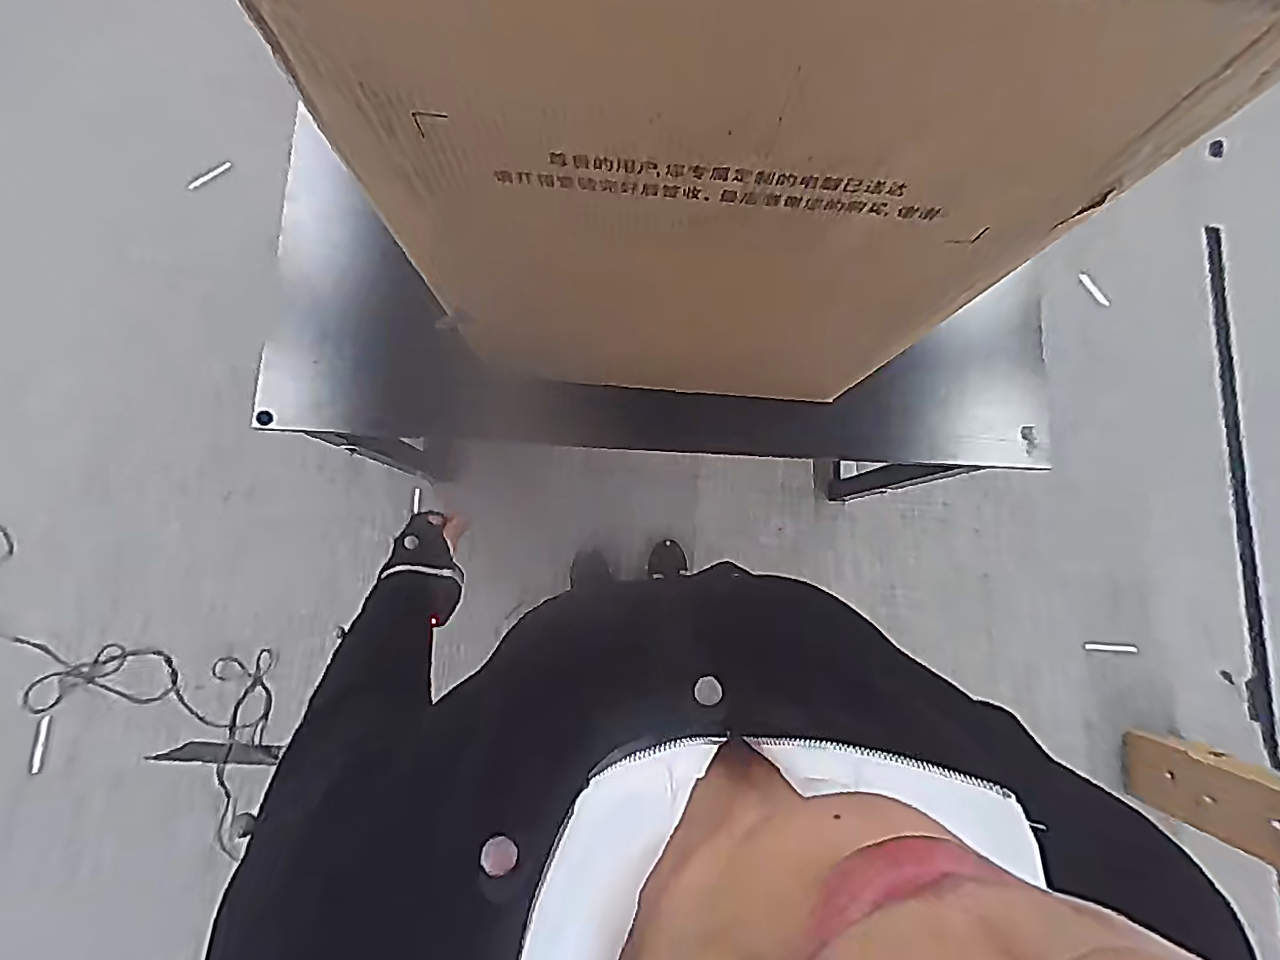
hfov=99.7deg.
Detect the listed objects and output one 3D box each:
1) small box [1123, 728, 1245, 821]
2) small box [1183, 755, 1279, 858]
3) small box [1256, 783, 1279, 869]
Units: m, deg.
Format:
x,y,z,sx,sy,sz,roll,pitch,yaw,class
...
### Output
x,y,z,sx,sy,sz,roll,pitch,yaw,class
1.430,0.777,1.428,0.168,0.176,0.179,7,83,-1,small box
1.442,0.763,1.265,0.179,0.176,0.168,7,82,-1,small box
1.435,0.742,1.103,0.179,0.176,0.168,7,82,-1,small box
